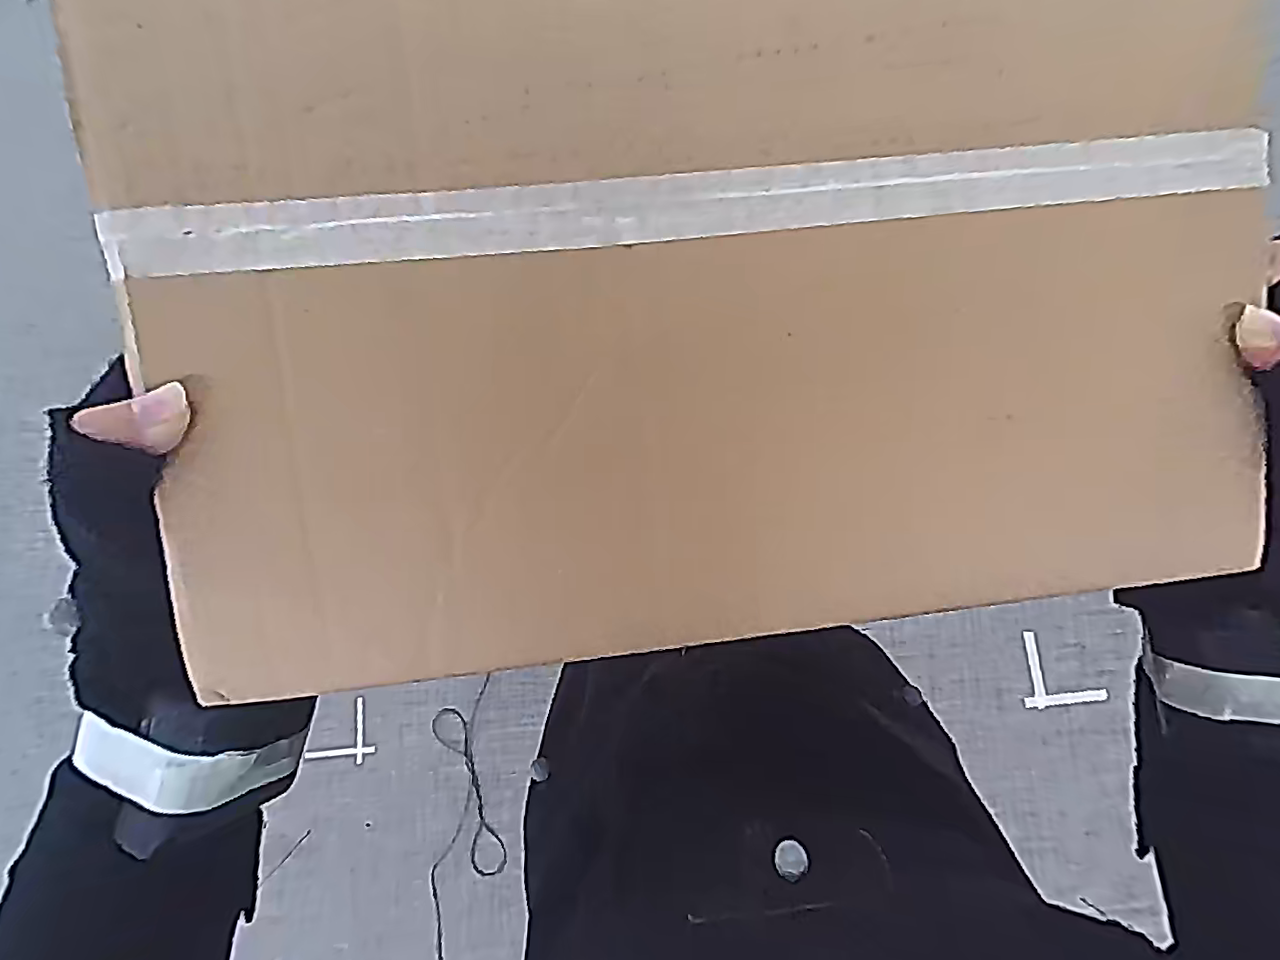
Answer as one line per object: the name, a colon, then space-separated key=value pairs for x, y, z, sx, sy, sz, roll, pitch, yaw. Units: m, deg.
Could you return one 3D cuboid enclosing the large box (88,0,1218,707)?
large box: x=0.016 y=-0.105 z=0.348 sx=0.408 sy=0.320 sz=0.320 roll=-7 pitch=95 yaw=-4
